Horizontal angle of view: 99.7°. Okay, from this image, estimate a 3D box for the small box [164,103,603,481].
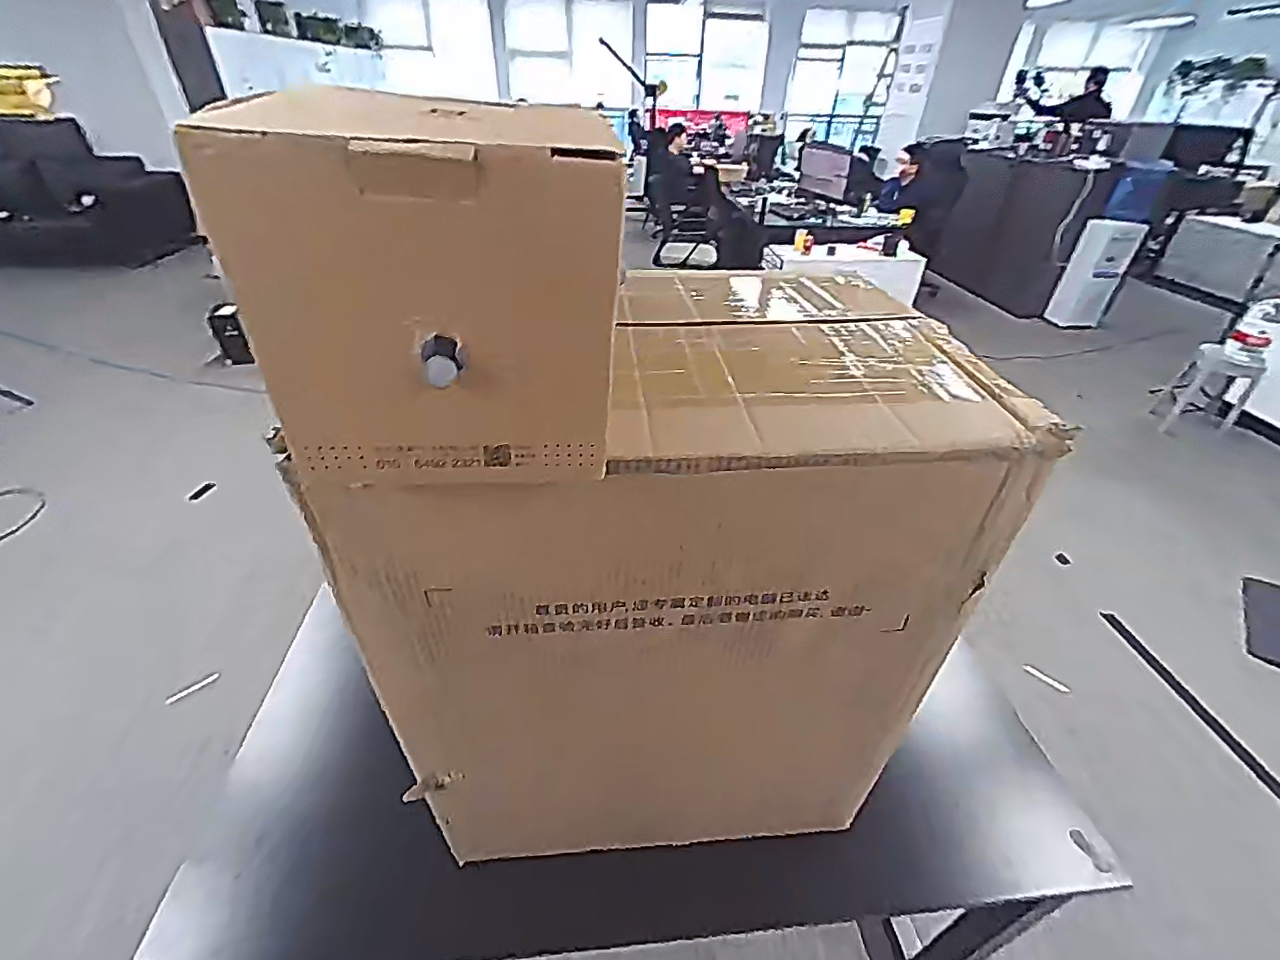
[{"bbox_3d":[-0.110,-0.110,0.320,0.168,0.176,0.179,-2,38,-10],"label":"small box"}]
